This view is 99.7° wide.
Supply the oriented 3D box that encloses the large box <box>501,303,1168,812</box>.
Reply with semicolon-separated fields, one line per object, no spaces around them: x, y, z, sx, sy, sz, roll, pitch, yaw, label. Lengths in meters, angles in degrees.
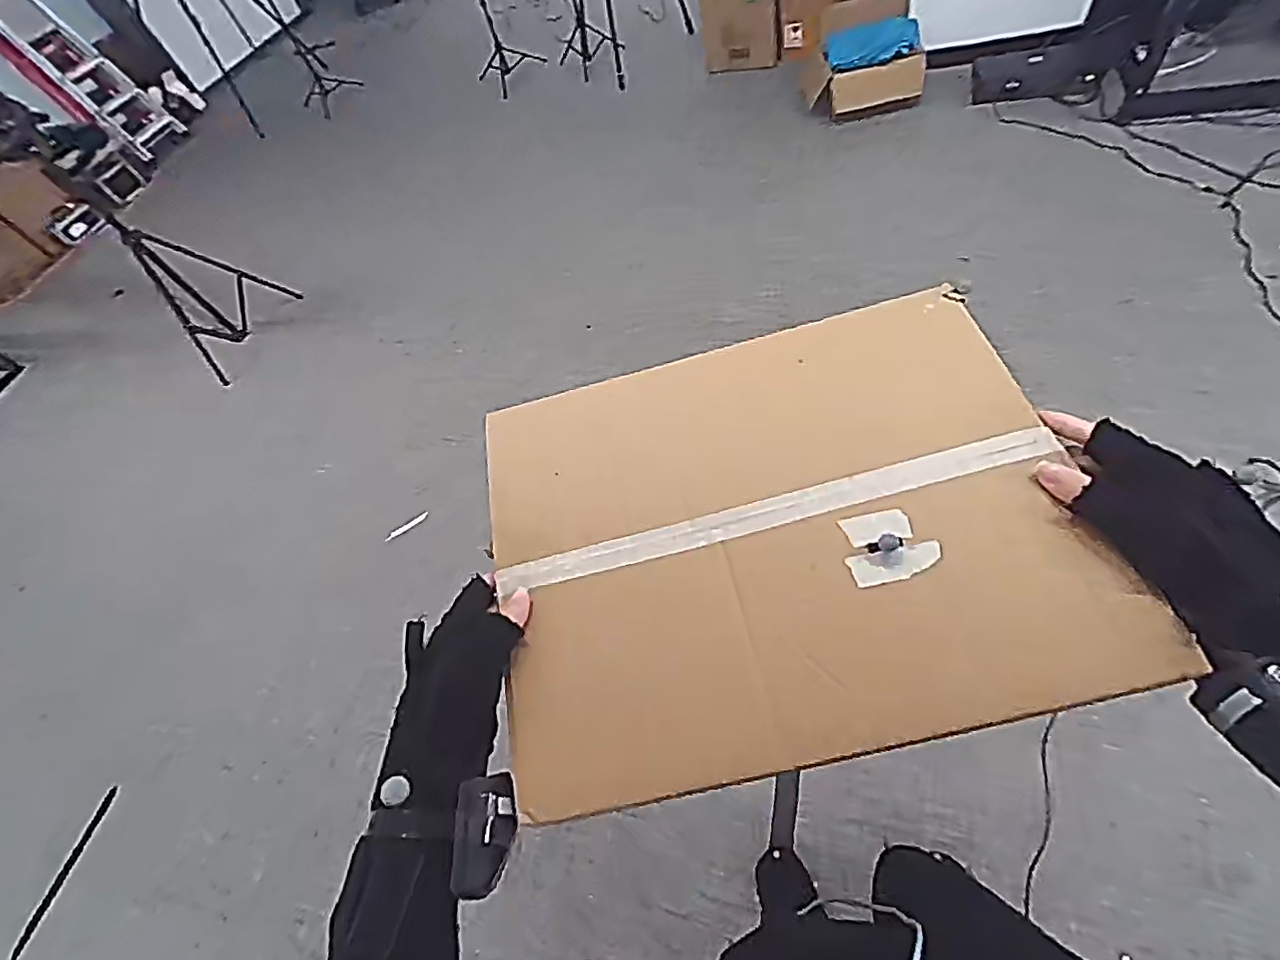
0.120;0.096;0.532;0.408;0.320;0.320;-15;62;3;large box
